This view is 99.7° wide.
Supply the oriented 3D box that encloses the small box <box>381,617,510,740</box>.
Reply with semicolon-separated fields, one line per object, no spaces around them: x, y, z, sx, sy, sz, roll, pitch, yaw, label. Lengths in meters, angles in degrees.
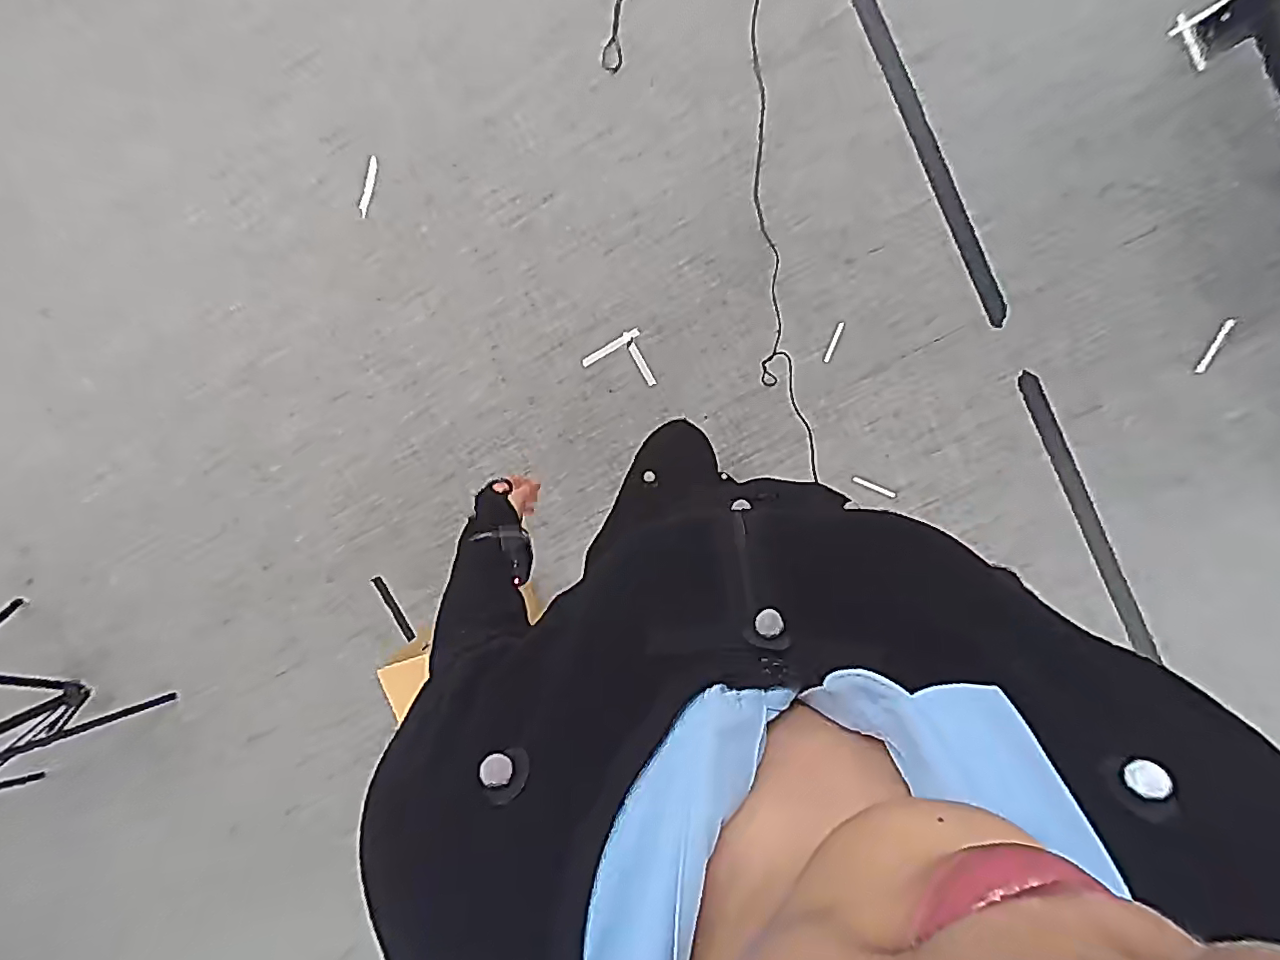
-0.411;0.422;1.169;0.179;0.176;0.168;-20;95;8;small box
